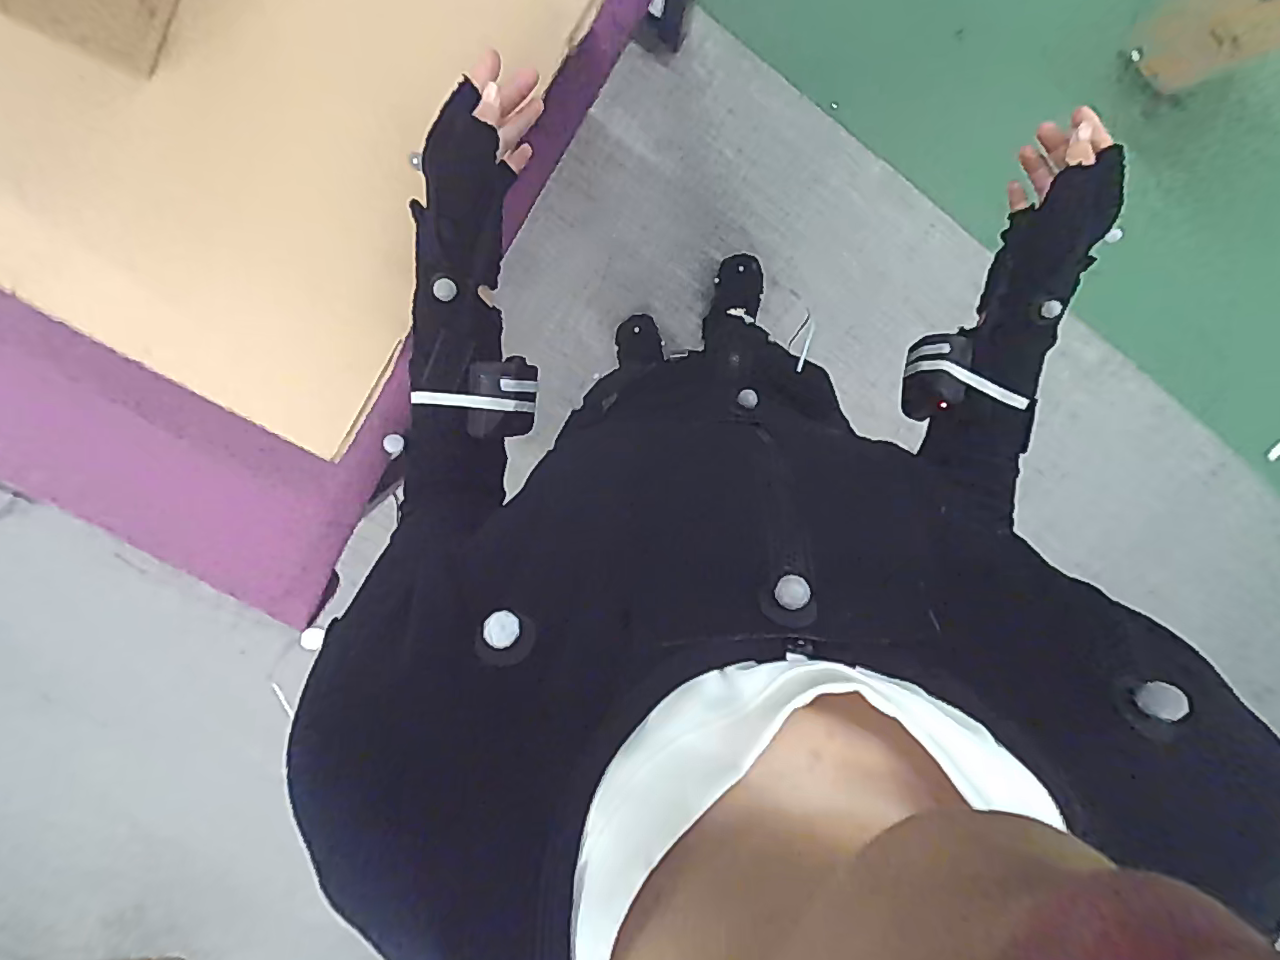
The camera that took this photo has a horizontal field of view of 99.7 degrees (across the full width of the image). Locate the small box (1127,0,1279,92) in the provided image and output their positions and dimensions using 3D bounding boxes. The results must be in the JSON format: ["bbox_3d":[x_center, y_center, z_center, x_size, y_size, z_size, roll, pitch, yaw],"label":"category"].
[{"bbox_3d":[1.182,-0.965,1.127,0.168,0.176,0.179,33,104,-12],"label":"small box"}]
